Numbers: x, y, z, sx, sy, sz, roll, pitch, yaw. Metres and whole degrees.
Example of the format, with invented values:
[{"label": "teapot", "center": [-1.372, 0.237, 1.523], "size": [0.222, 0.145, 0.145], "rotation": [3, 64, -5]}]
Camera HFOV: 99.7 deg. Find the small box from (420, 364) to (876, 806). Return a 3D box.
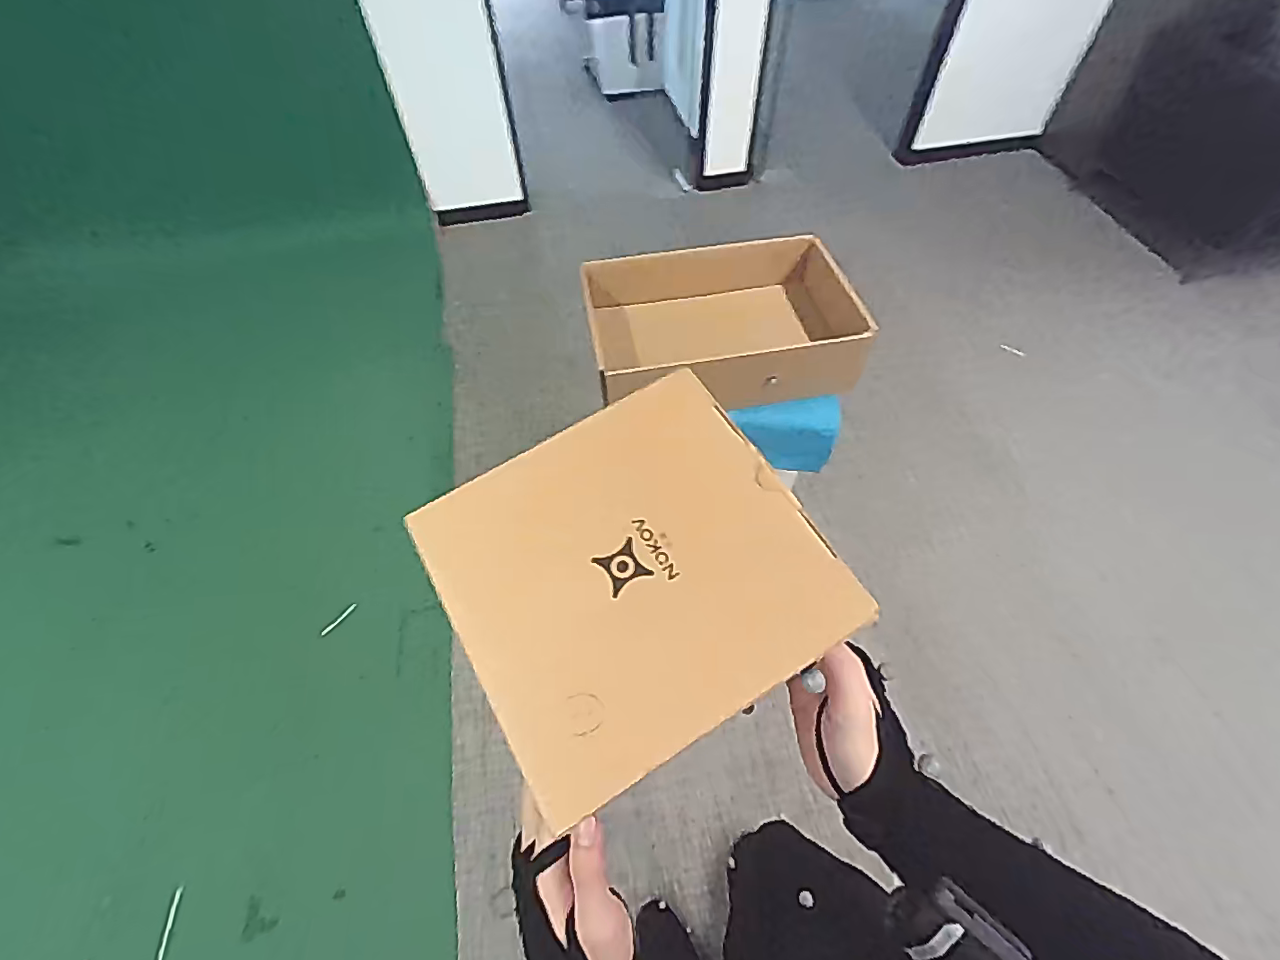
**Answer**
[{"label": "small box", "center": [0.001, 0.069, 0.337], "size": [0.179, 0.176, 0.168], "rotation": [-28, 66, -11]}]
